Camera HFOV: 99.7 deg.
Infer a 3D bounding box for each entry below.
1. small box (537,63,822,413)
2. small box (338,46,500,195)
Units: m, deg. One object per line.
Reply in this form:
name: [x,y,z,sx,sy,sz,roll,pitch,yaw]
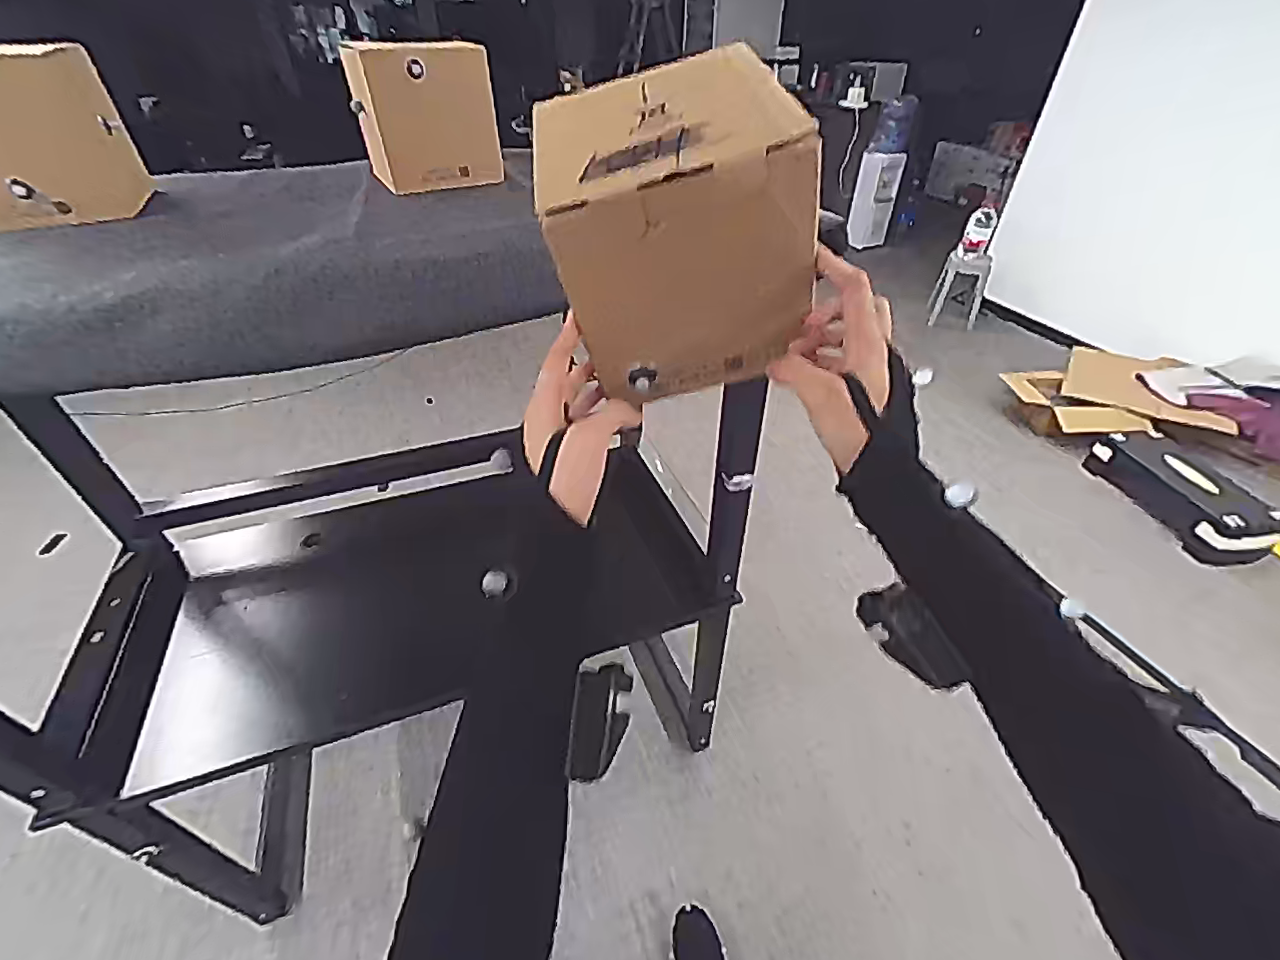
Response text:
small box: [0.029,-0.171,0.413,0.168,0.176,0.179,-14,52,5]
small box: [-0.323,-0.535,0.803,0.168,0.176,0.179,-22,44,-23]
